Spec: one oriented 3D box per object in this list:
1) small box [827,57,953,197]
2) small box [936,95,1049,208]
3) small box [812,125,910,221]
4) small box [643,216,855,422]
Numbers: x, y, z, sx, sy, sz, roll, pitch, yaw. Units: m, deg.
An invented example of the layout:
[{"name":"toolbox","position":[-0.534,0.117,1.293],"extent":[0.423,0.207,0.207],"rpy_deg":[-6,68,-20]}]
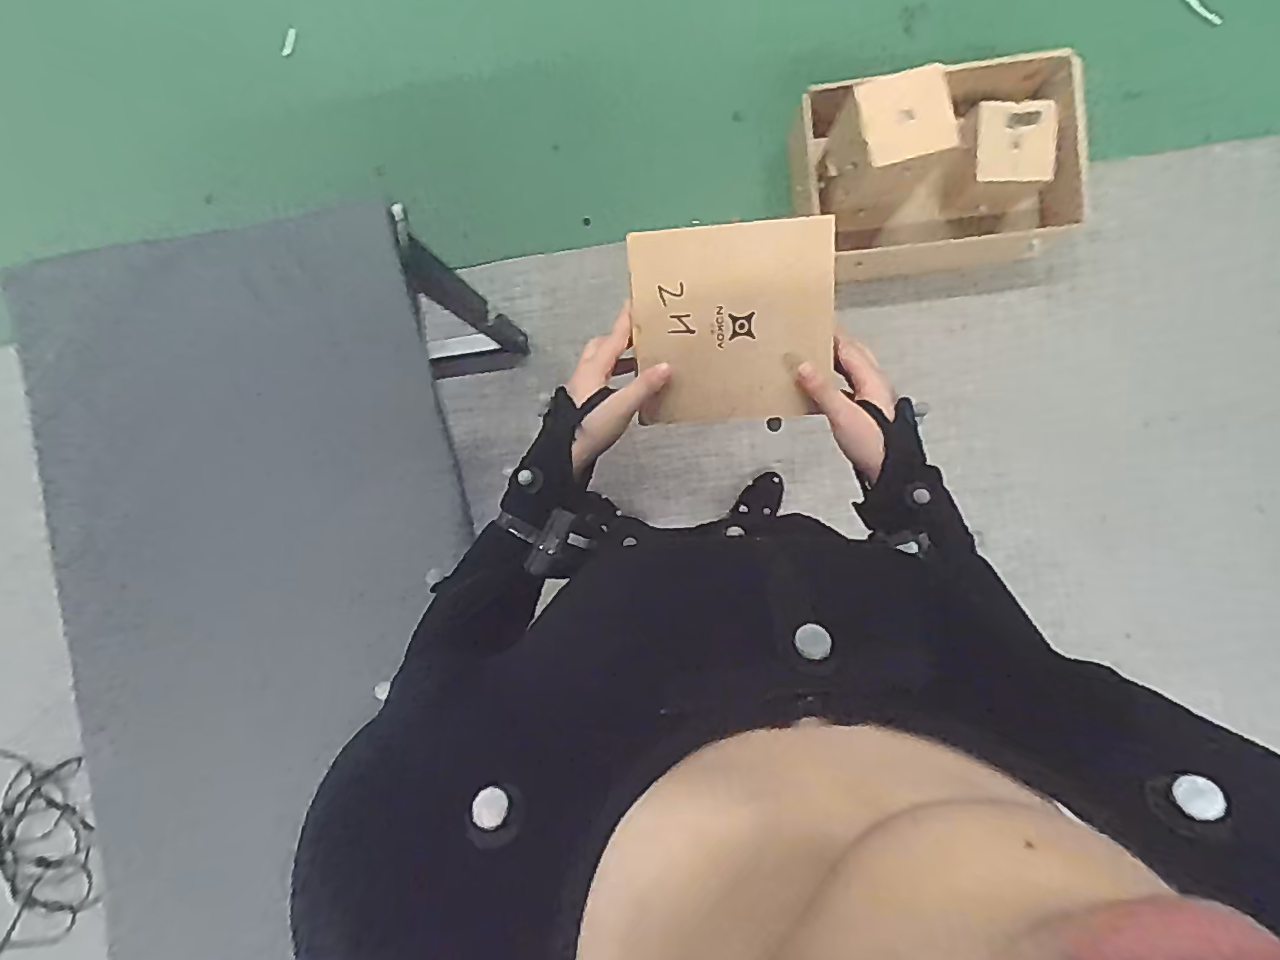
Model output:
[{"name":"small box","position":[0.510,-0.725,1.134],"extent":[0.179,0.176,0.168],"rpy_deg":[-15,93,1]},{"name":"small box","position":[0.828,-0.772,1.285],"extent":[0.168,0.176,0.179],"rpy_deg":[1,94,3]},{"name":"small box","position":[0.520,-0.735,1.298],"extent":[0.179,0.176,0.168],"rpy_deg":[-5,93,3]},{"name":"small box","position":[0.096,-0.151,0.537],"extent":[0.179,0.176,0.168],"rpy_deg":[-2,102,4]}]
